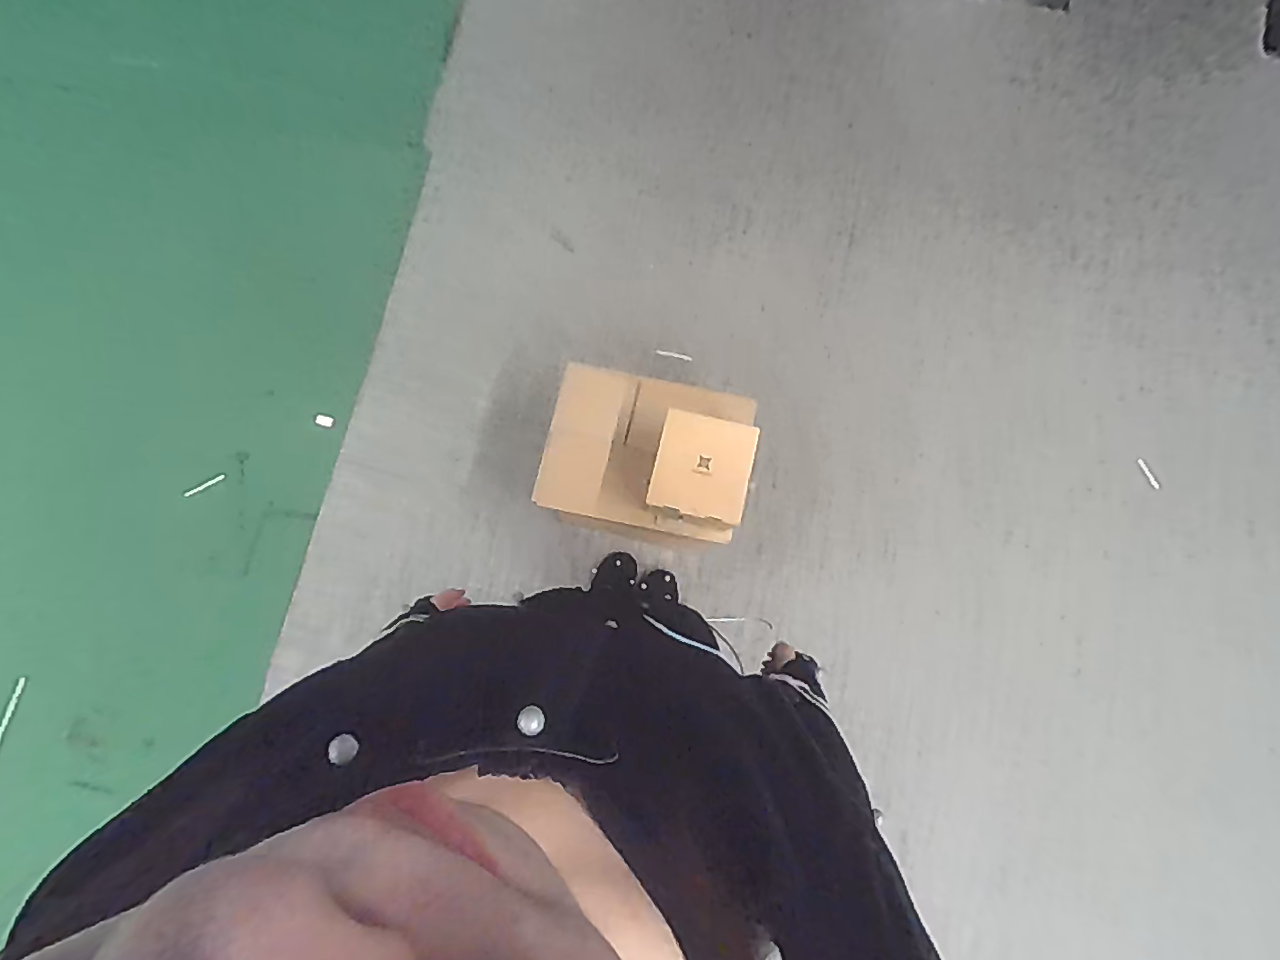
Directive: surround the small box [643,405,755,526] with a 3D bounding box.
[{"bbox_3d":[0.101,-0.019,1.011,0.168,0.176,0.179,14,83,2],"label":"small box"}]
